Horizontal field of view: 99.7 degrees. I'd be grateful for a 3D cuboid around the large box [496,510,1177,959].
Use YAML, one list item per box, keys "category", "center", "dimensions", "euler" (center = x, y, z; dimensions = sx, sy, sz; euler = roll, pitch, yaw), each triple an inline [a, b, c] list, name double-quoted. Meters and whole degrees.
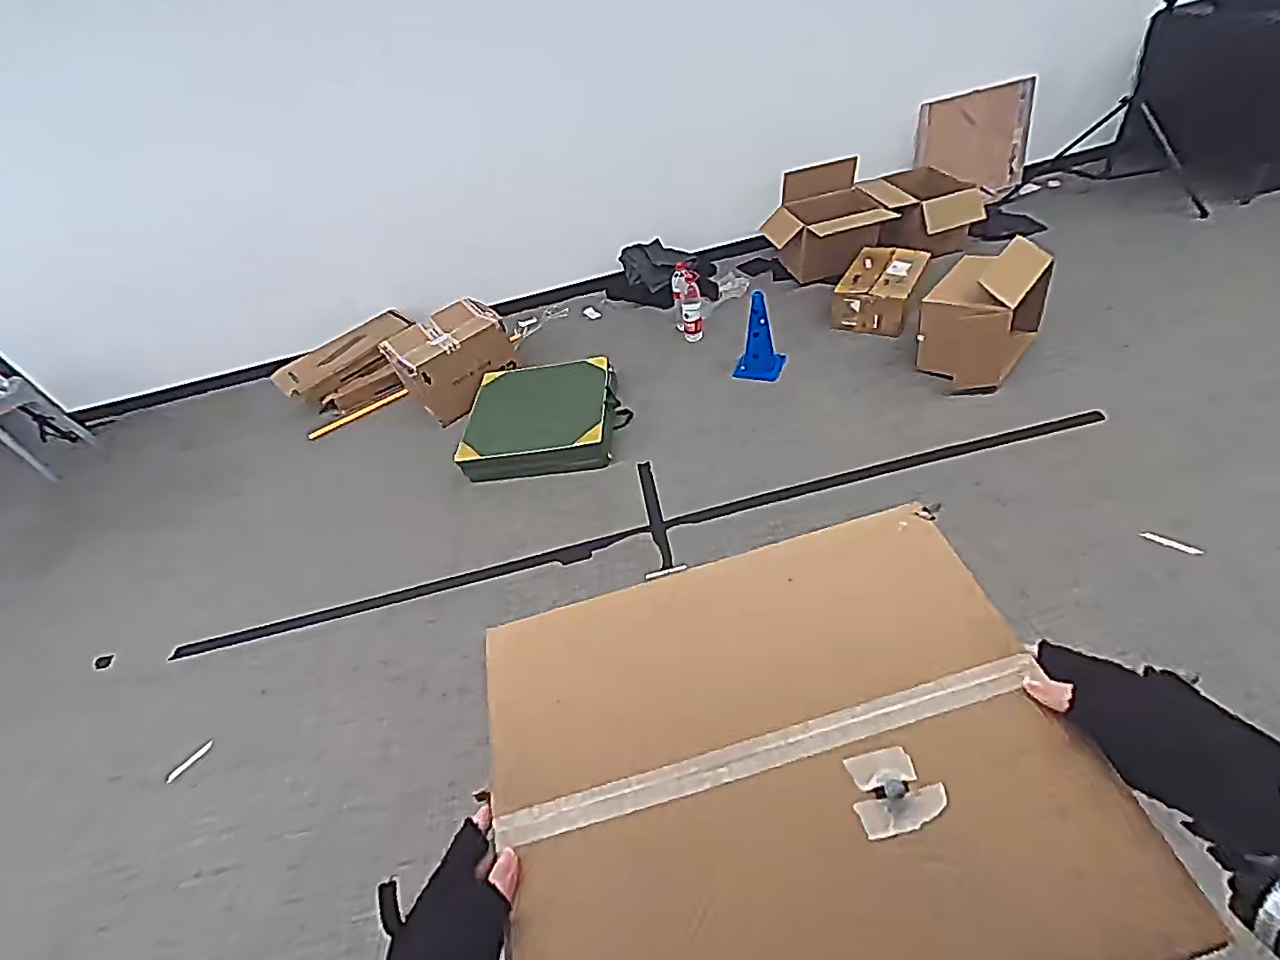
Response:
- category: "large box"
  center: [0.116, 0.288, 0.519]
  dimensions: [0.408, 0.320, 0.320]
  euler: [-16, 52, -2]
